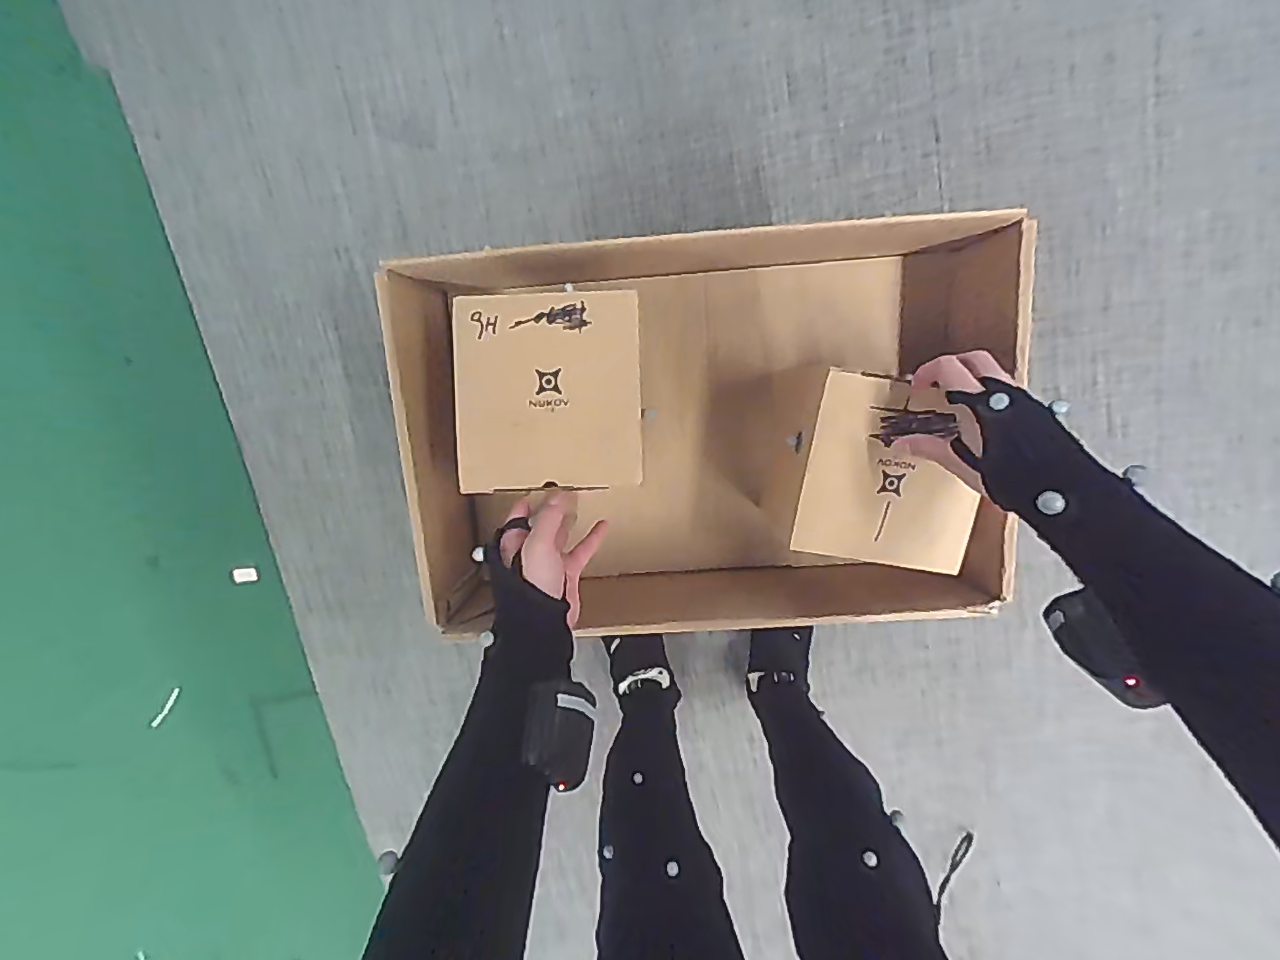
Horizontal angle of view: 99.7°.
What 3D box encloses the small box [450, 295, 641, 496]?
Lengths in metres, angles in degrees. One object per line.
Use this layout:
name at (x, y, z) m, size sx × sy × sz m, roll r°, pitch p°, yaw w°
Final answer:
small box at (-0.083, -0.078, 0.558) m, size 0.168 × 0.176 × 0.179 m, roll -1°, pitch 92°, yaw 1°
